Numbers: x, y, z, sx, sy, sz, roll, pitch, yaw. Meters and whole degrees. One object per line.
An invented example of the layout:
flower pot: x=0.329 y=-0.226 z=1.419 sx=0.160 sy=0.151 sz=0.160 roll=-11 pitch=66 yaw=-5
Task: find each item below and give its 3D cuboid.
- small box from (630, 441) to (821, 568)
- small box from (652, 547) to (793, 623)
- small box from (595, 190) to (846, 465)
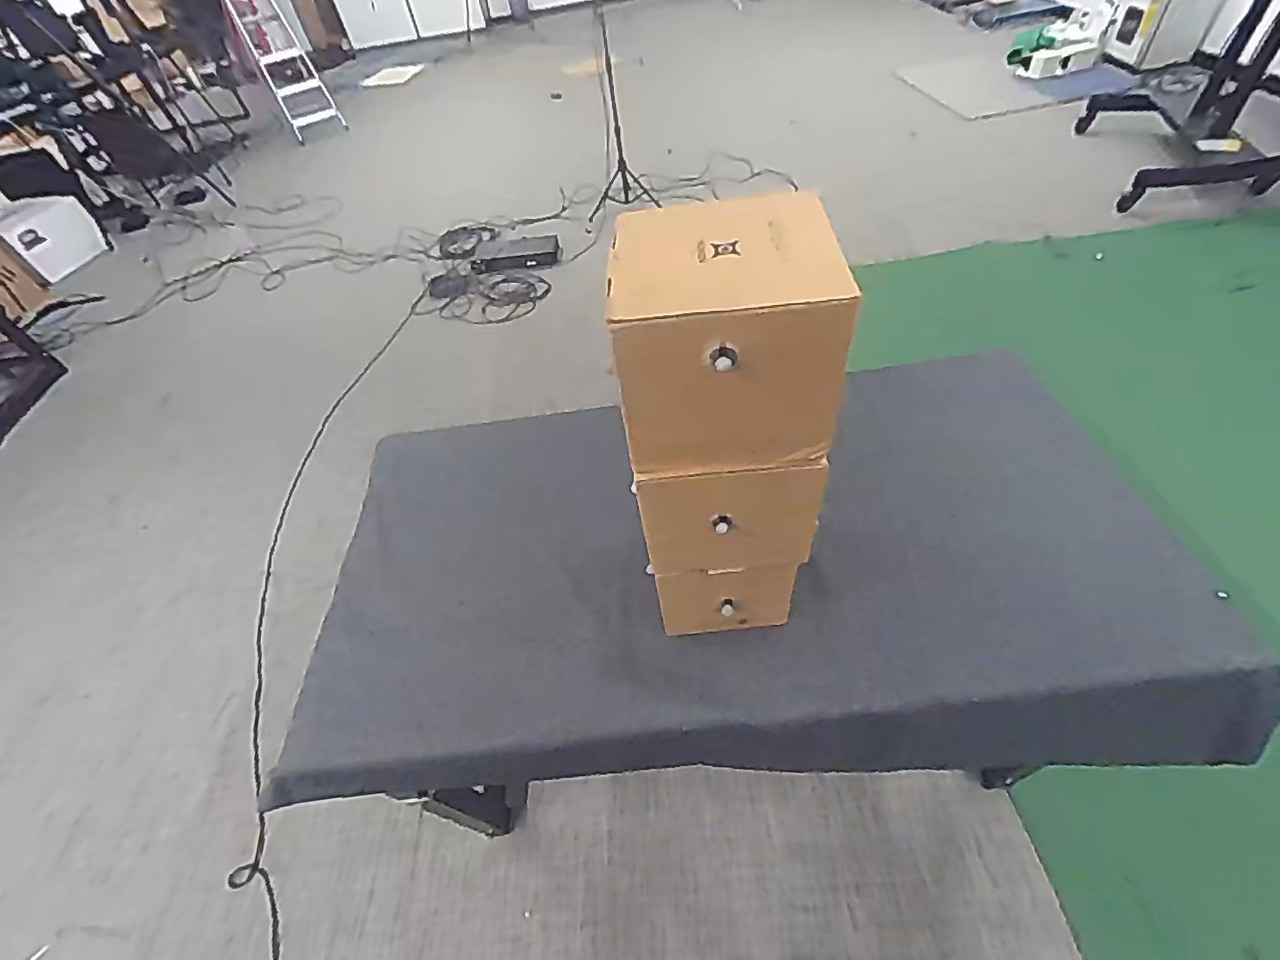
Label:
small box: x=0.087 y=-0.019 z=0.600 sx=0.179 sy=0.176 sz=0.168 roll=-7 pitch=49 yaw=6
small box: x=0.102 y=0.080 z=0.731 sx=0.168 sy=0.176 sz=0.179 roll=-9 pitch=50 yaw=4
small box: x=0.066 y=-0.127 z=0.481 sx=0.179 sy=0.176 sz=0.168 roll=-4 pitch=51 yaw=6
